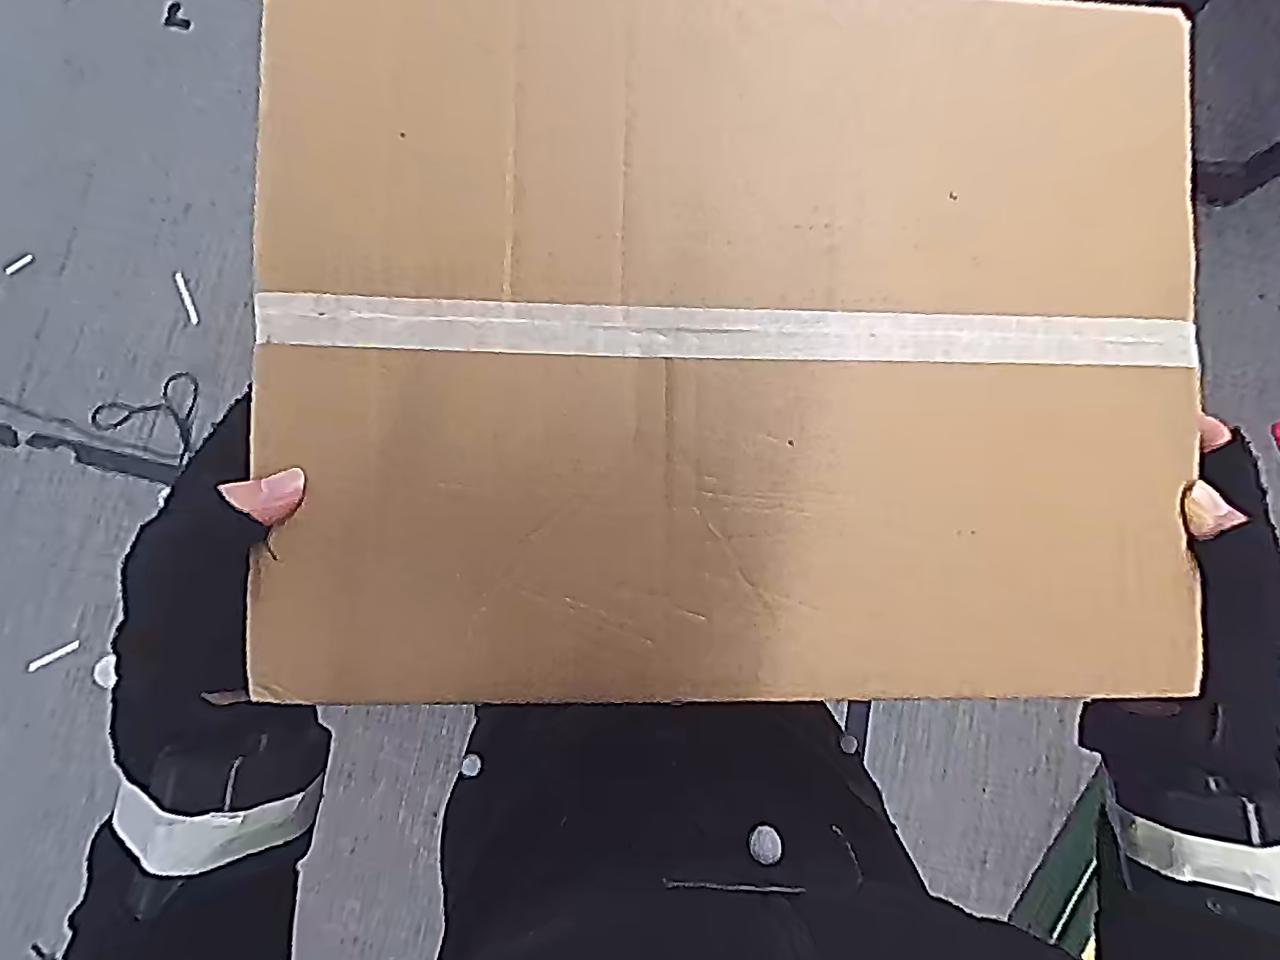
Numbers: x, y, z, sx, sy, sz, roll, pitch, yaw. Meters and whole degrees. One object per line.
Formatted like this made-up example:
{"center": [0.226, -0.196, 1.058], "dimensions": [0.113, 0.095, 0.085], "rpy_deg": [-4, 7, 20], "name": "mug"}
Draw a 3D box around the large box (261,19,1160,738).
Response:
{"center": [0.033, -0.046, 0.388], "dimensions": [0.408, 0.320, 0.320], "rpy_deg": [0, 88, -3], "name": "large box"}
